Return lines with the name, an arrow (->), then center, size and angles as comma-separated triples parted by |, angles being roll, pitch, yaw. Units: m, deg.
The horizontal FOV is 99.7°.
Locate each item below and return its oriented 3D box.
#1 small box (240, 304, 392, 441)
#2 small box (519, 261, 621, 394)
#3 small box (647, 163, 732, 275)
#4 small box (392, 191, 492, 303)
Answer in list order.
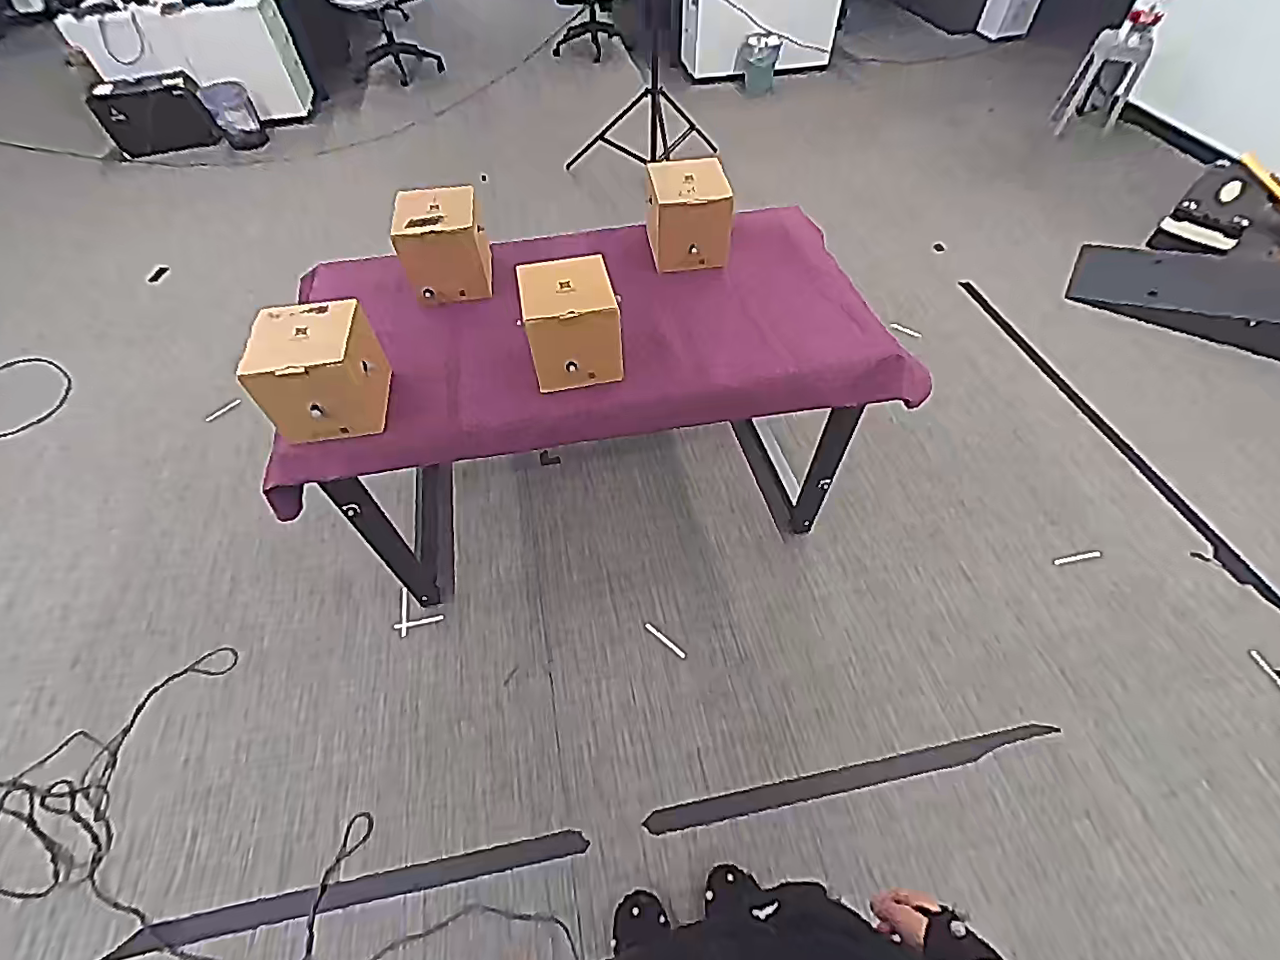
small box -> -0.562, -0.184, 0.968 | 0.168, 0.176, 0.179 | -9, 54, -6
small box -> -0.134, -0.293, 1.043 | 0.168, 0.176, 0.179 | -11, 53, -7
small box -> 0.108, -0.607, 1.262 | 0.168, 0.176, 0.179 | -8, 57, -3
small box -> -0.431, -0.511, 1.205 | 0.168, 0.176, 0.179 | -8, 55, -5
